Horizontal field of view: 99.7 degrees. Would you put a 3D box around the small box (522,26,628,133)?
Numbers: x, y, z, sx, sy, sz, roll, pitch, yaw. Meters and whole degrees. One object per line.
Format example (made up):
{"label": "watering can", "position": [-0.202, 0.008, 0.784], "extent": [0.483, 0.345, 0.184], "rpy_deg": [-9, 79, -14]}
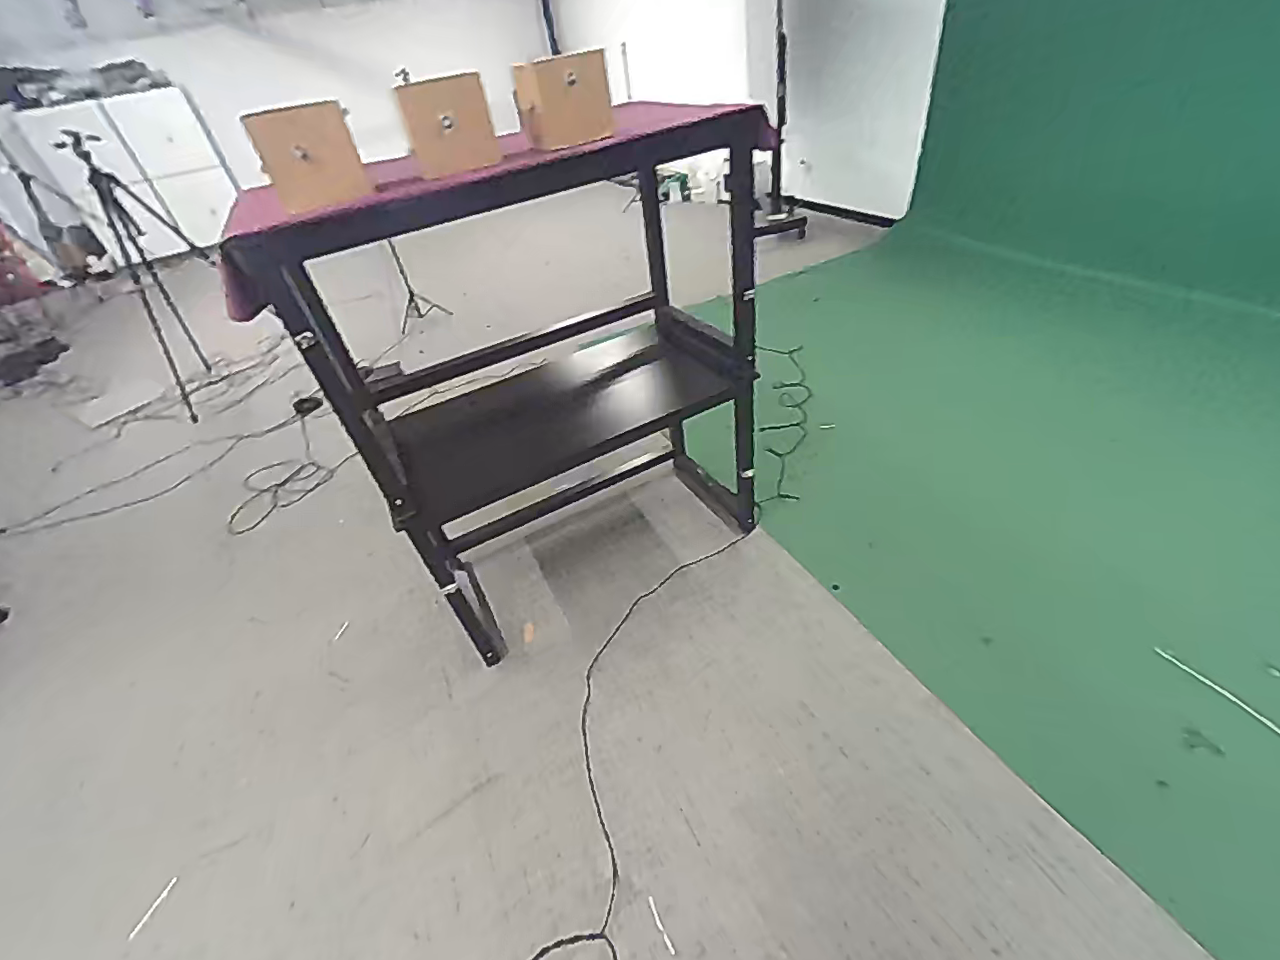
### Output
{"label": "small box", "position": [-0.144, -0.901, 1.223], "extent": [0.179, 0.176, 0.168], "rpy_deg": [-22, 42, -15]}
